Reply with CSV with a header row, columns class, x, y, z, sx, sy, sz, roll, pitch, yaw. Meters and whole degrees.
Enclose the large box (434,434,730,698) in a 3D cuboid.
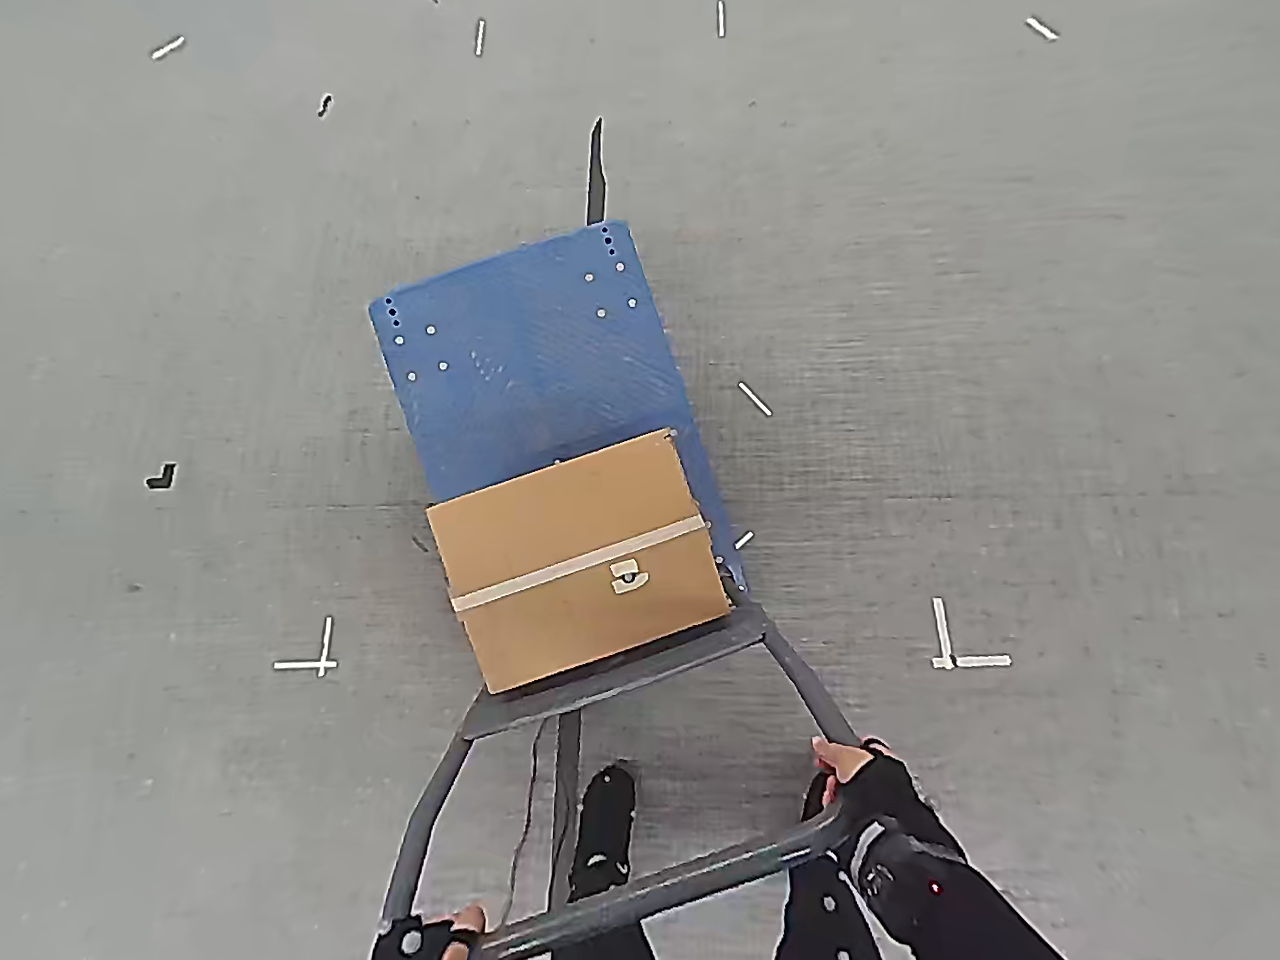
class,x,y,z,sx,sy,sz,roll,pitch,yaw
large box,-0.096,0.138,1.006,0.408,0.320,0.320,-19,92,-2
